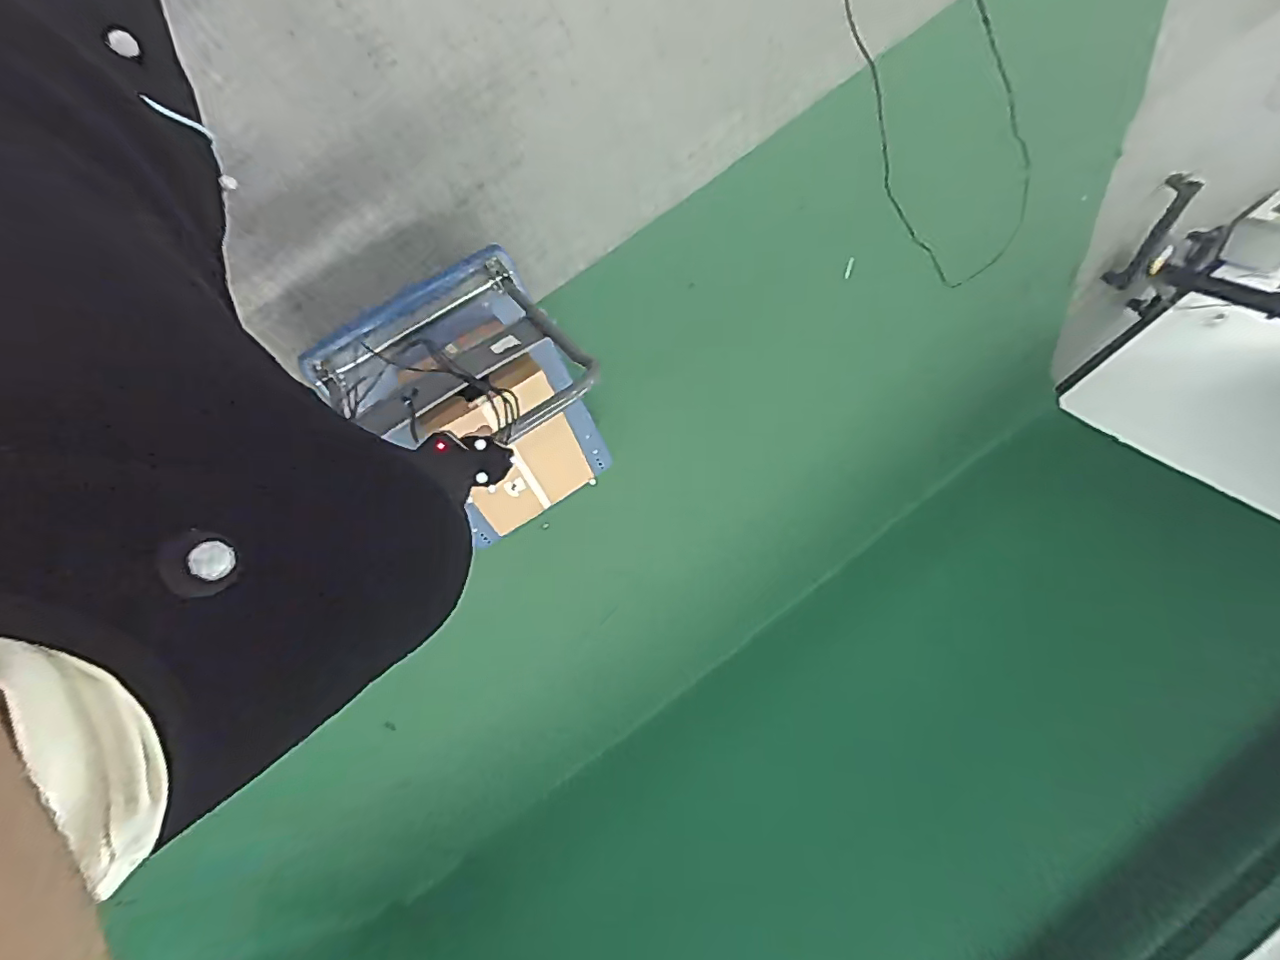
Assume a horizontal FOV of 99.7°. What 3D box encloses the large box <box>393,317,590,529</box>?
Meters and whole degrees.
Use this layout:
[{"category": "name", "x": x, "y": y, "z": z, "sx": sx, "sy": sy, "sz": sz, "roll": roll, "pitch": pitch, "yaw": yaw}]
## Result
[{"category": "large box", "x": -0.388, "y": -0.150, "z": 1.458, "sx": 0.320, "sy": 0.320, "sz": 0.408, "roll": -32, "pitch": 140, "yaw": -10}]
